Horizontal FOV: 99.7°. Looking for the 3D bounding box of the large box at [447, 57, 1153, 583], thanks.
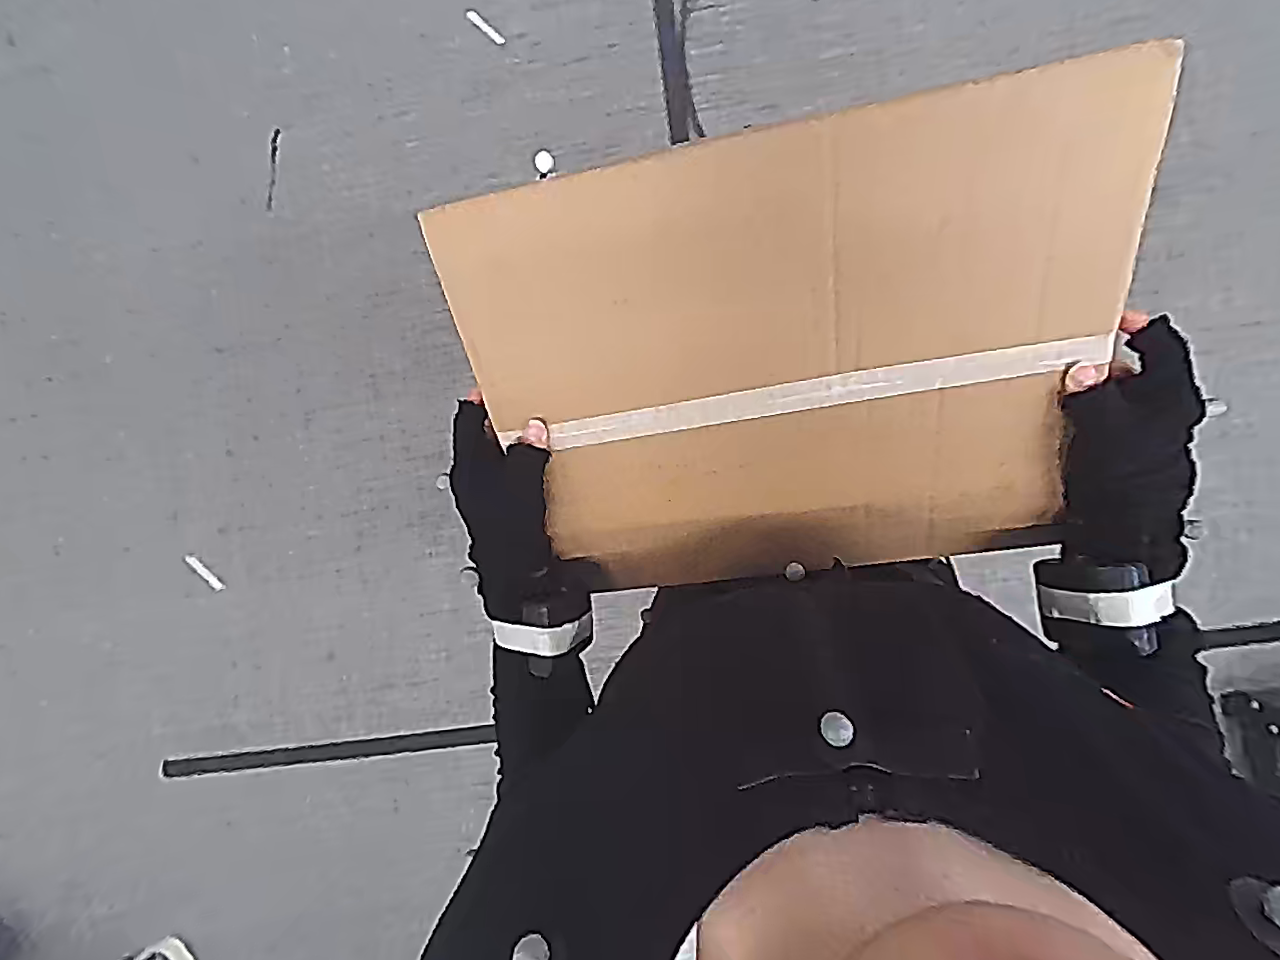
[{"bbox_3d":[0.107,-0.137,0.507,0.408,0.320,0.320,-7,122,9],"label":"large box"}]
